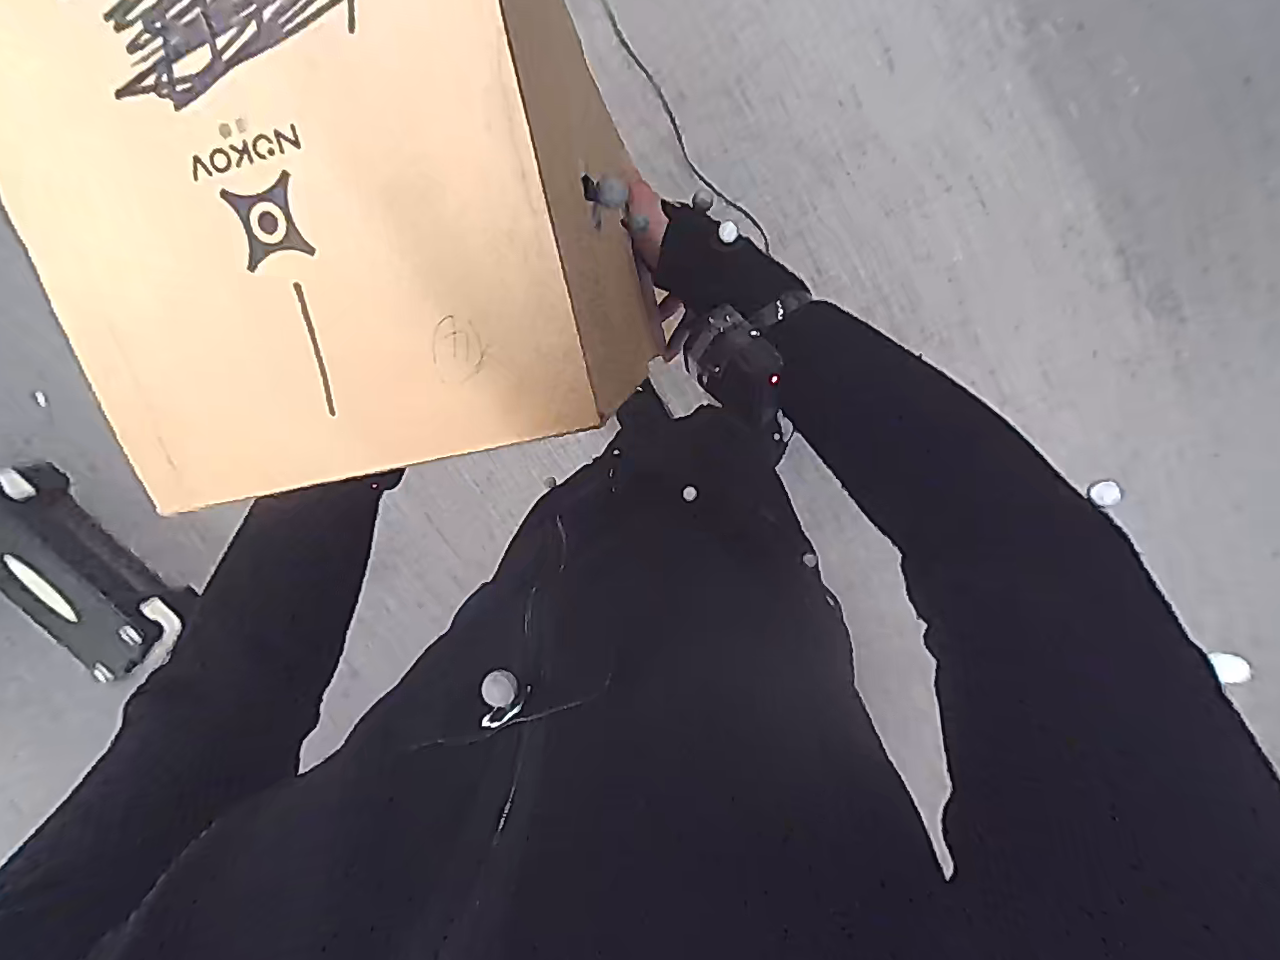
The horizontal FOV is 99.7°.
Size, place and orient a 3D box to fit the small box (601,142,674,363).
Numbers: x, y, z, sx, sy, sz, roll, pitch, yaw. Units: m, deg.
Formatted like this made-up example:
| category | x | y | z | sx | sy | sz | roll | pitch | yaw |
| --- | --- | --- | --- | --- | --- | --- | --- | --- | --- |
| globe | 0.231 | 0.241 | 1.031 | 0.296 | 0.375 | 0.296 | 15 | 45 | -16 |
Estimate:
| category | x | y | z | sx | sy | sz | roll | pitch | yaw |
| --- | --- | --- | --- | --- | --- | --- | --- | --- | --- |
| small box | -0.065 | -0.198 | 0.540 | 0.168 | 0.176 | 0.179 | -11 | 105 | 11 |

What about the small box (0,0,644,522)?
| category | x | y | z | sx | sy | sz | roll | pitch | yaw |
| --- | --- | --- | --- | --- | --- | --- | --- | --- | --- |
| small box | -0.101 | -0.103 | 0.230 | 0.168 | 0.176 | 0.179 | -11 | 106 | 10 |
